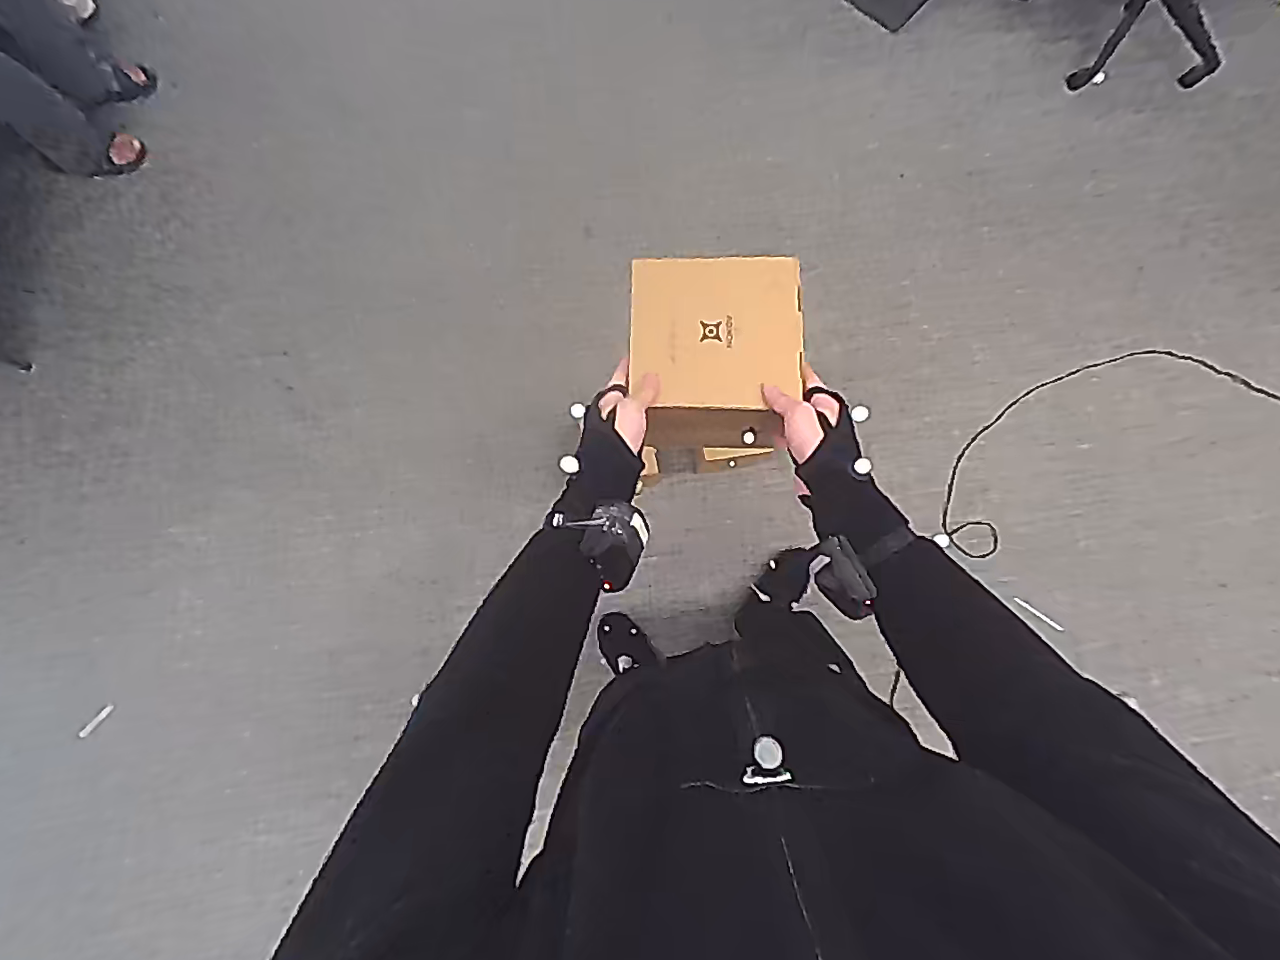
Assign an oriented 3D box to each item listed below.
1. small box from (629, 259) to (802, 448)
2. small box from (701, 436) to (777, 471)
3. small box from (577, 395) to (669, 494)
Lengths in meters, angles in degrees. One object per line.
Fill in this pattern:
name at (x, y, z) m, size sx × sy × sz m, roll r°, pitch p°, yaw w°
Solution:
small box at (0.086, -0.139, 0.639) m, size 0.179 × 0.176 × 0.168 m, roll 1°, pitch 78°, yaw 6°
small box at (0.248, -0.122, 1.417) m, size 0.179 × 0.176 × 0.168 m, roll -5°, pitch 82°, yaw 1°
small box at (-0.036, -0.083, 1.410) m, size 0.179 × 0.176 × 0.168 m, roll -42°, pitch 80°, yaw -5°
